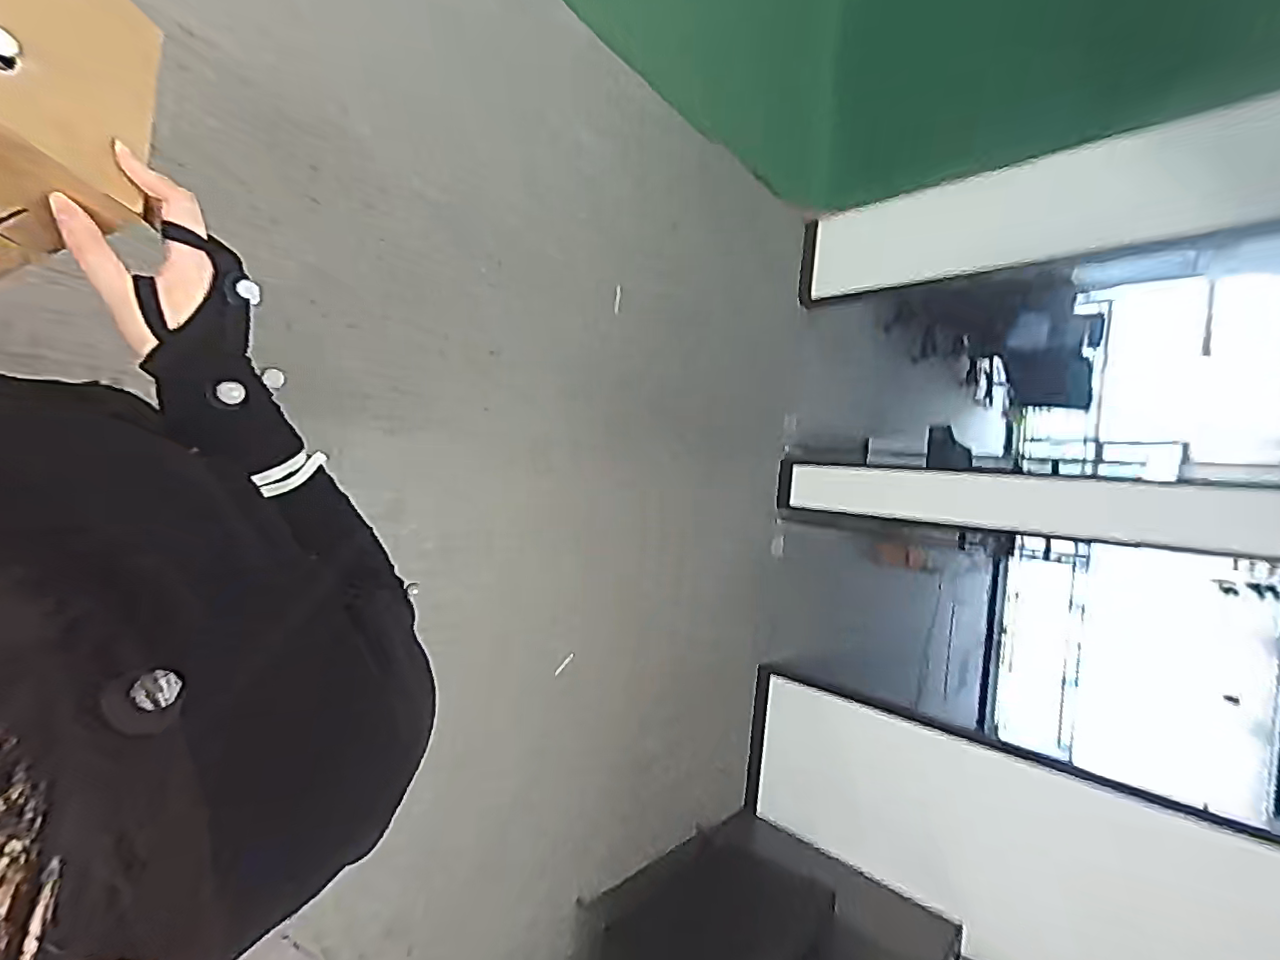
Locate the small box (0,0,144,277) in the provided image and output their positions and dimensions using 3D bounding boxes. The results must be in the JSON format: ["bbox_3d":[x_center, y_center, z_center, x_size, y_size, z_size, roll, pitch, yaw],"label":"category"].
[{"bbox_3d":[-0.422,-0.239,0.291,0.179,0.168,0.176,44,33,-68],"label":"small box"}]
